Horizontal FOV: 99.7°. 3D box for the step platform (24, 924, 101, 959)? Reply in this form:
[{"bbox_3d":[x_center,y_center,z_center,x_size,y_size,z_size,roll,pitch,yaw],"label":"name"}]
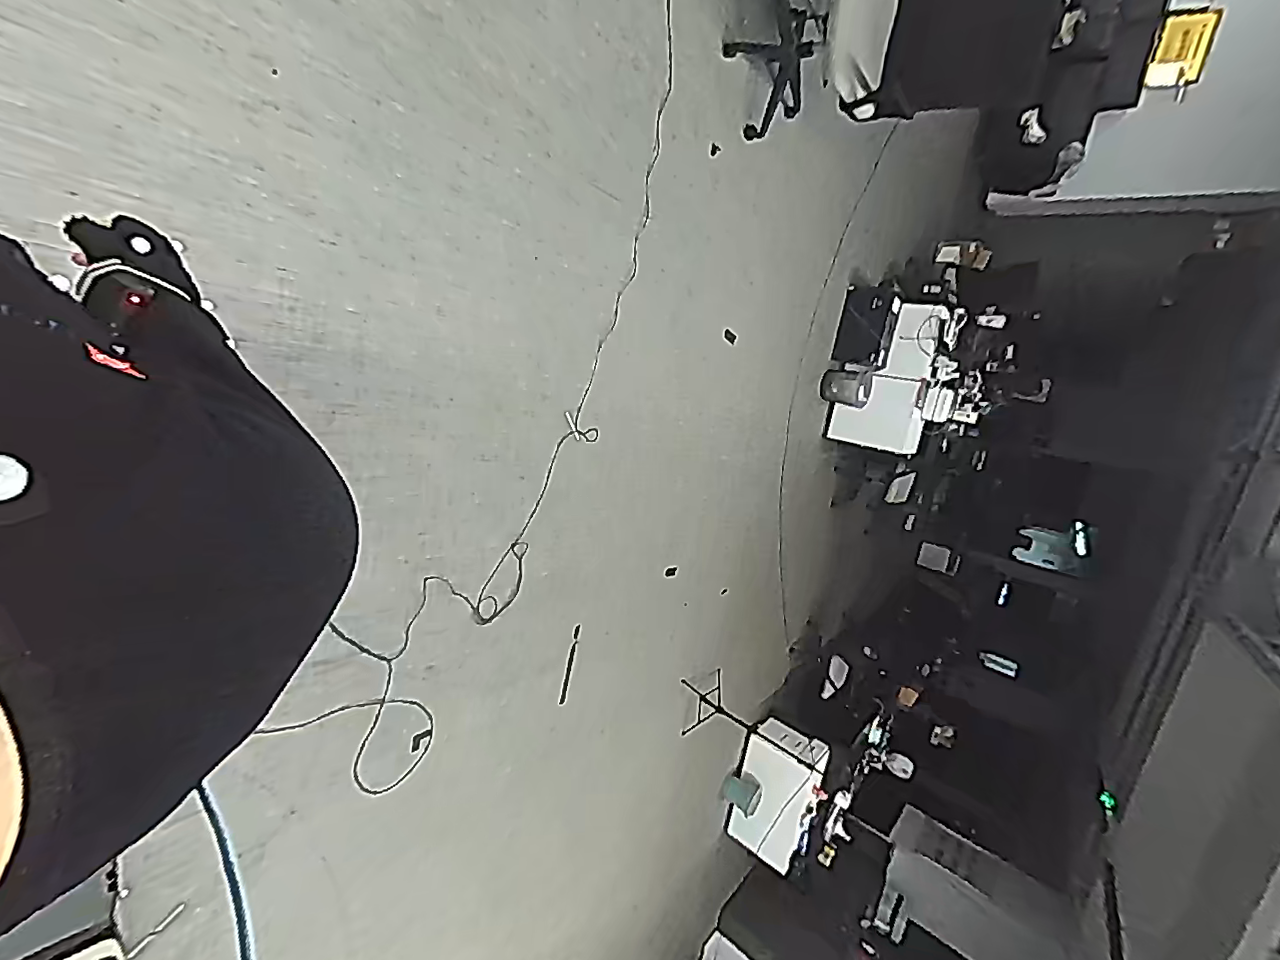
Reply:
[{"bbox_3d":[-1.485,1.219,1.017,0.684,0.204,0.286,-5,109,-50],"label":"step platform"}]
